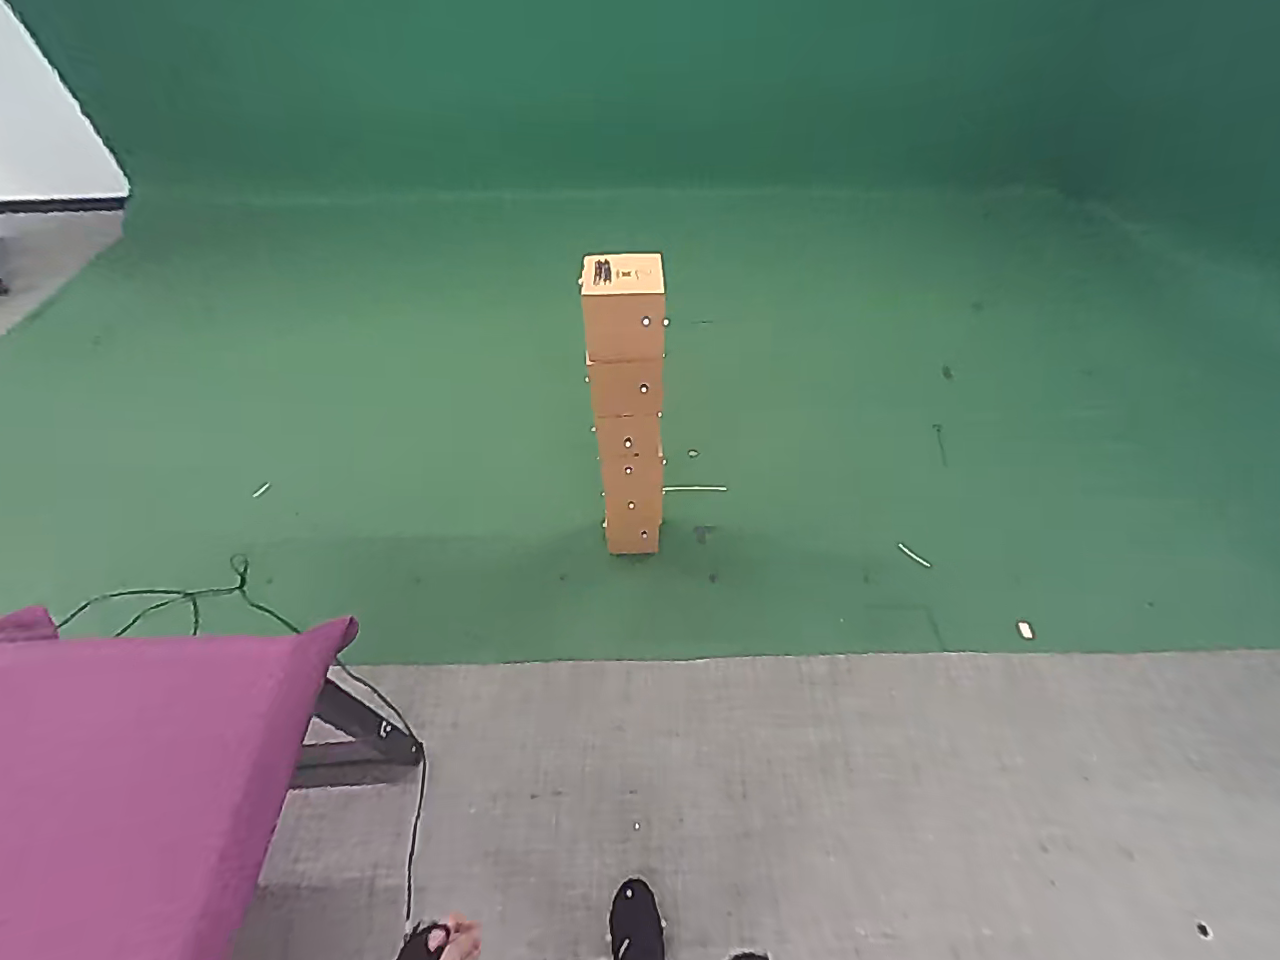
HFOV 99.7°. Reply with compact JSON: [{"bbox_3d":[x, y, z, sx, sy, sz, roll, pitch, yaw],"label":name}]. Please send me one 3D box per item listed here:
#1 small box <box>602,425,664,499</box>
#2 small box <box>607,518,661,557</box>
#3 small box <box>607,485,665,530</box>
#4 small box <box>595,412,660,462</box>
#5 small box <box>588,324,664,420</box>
[{"bbox_3d":[-0.022,-0.058,1.601,0.179,0.176,0.168,-4,51,-3],"label":"small box"},{"bbox_3d":[-0.019,0.152,1.851,0.179,0.176,0.168,-1,51,0],"label":"small box"},{"bbox_3d":[-0.016,0.047,1.727,0.179,0.176,0.168,-4,51,-1],"label":"small box"},{"bbox_3d":[-0.033,-0.161,1.476,0.168,0.176,0.179,-4,52,-1],"label":"small box"},{"bbox_3d":[-0.034,-0.267,1.351,0.179,0.176,0.168,-4,50,0],"label":"small box"}]
